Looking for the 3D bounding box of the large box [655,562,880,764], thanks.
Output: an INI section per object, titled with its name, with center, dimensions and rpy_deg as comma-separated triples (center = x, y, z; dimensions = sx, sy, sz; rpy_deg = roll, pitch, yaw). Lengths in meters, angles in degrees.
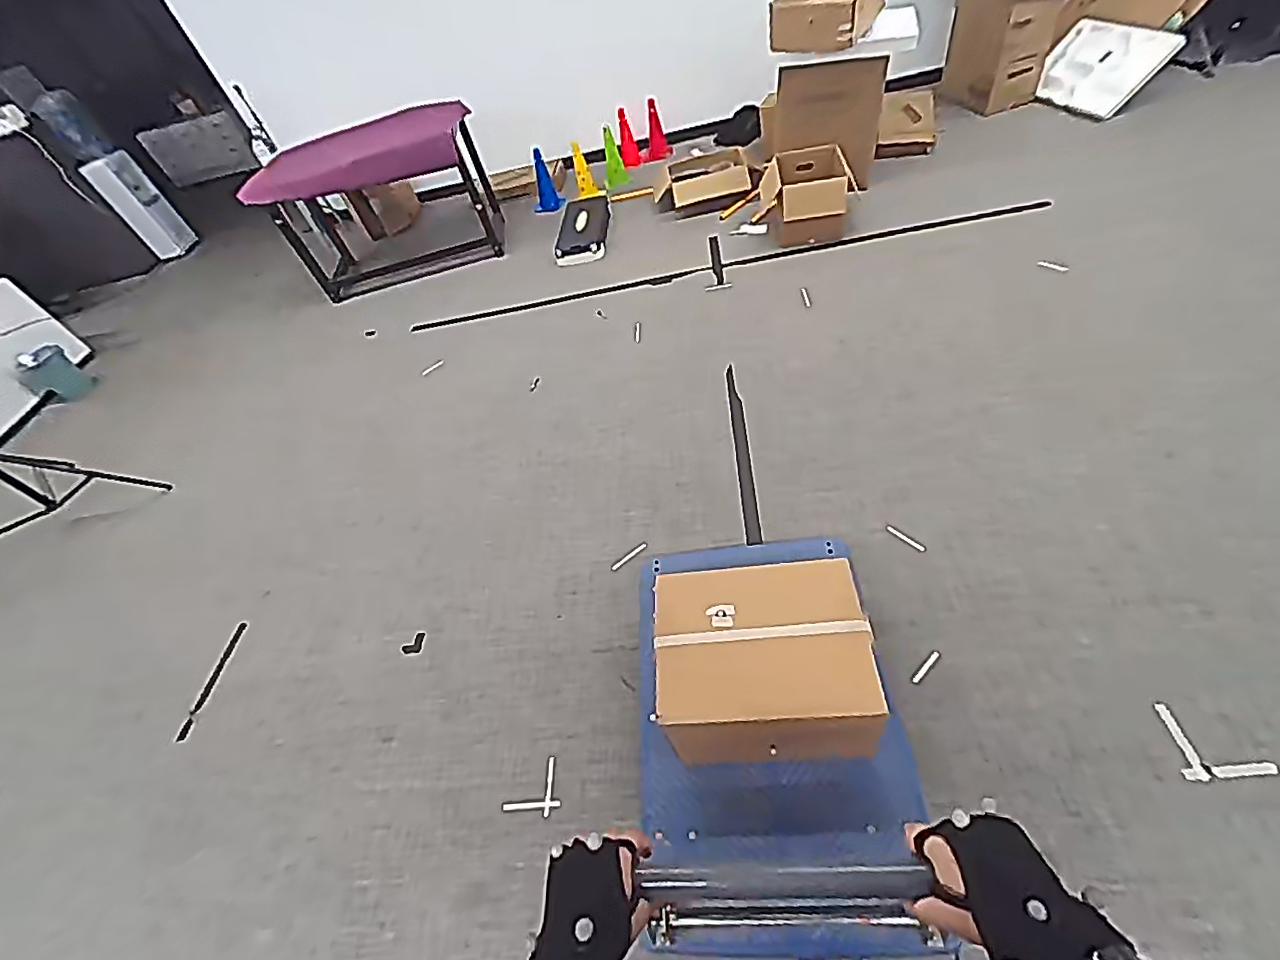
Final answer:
[large box]
center = 0.263, 0.411, 1.180
dimensions = 0.408, 0.320, 0.320
rpy_deg = -8, 48, 10
